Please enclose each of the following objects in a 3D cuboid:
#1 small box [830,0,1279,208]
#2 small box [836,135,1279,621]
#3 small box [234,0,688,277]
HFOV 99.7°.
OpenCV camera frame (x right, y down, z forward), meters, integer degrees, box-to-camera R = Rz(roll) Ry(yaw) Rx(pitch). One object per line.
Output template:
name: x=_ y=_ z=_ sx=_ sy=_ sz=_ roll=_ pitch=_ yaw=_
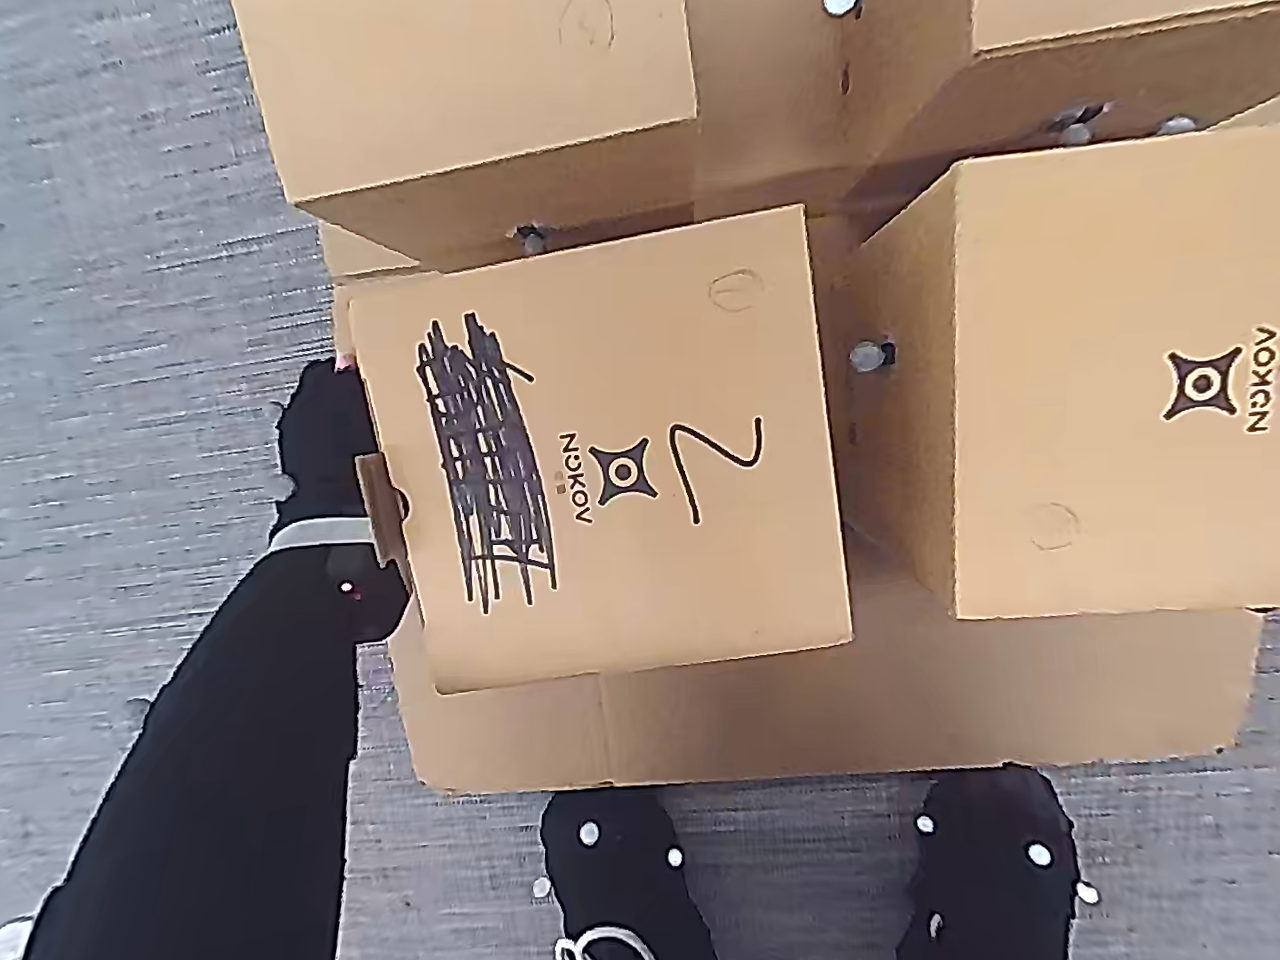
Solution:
small box: x=0.195 y=-0.240 z=0.242 sx=0.179 sy=0.176 sz=0.168 roll=-4 pitch=101 yaw=7
small box: x=0.202 y=-0.042 z=0.266 sx=0.179 sy=0.176 sz=0.168 roll=-4 pitch=99 yaw=6
small box: x=-0.066 y=-0.211 z=0.273 sx=0.168 sy=0.176 sz=0.179 roll=-7 pitch=99 yaw=6
